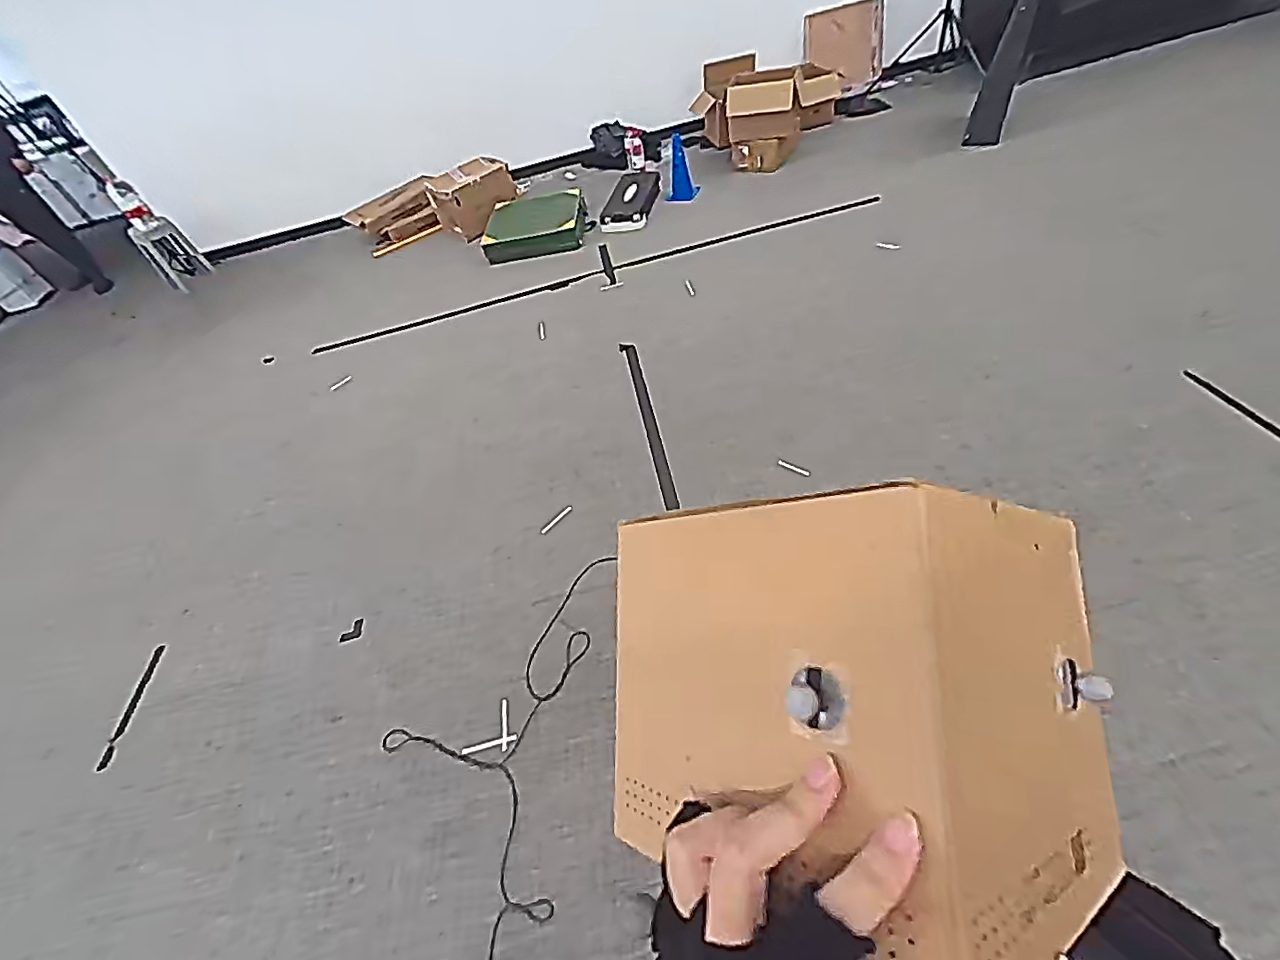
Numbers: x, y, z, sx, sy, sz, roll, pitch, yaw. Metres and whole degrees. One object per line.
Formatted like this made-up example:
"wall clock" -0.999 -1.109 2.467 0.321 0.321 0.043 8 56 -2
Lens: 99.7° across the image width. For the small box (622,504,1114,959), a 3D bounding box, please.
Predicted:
"small box" 0.105 0.110 0.279 0.179 0.168 0.176 -15 71 53
